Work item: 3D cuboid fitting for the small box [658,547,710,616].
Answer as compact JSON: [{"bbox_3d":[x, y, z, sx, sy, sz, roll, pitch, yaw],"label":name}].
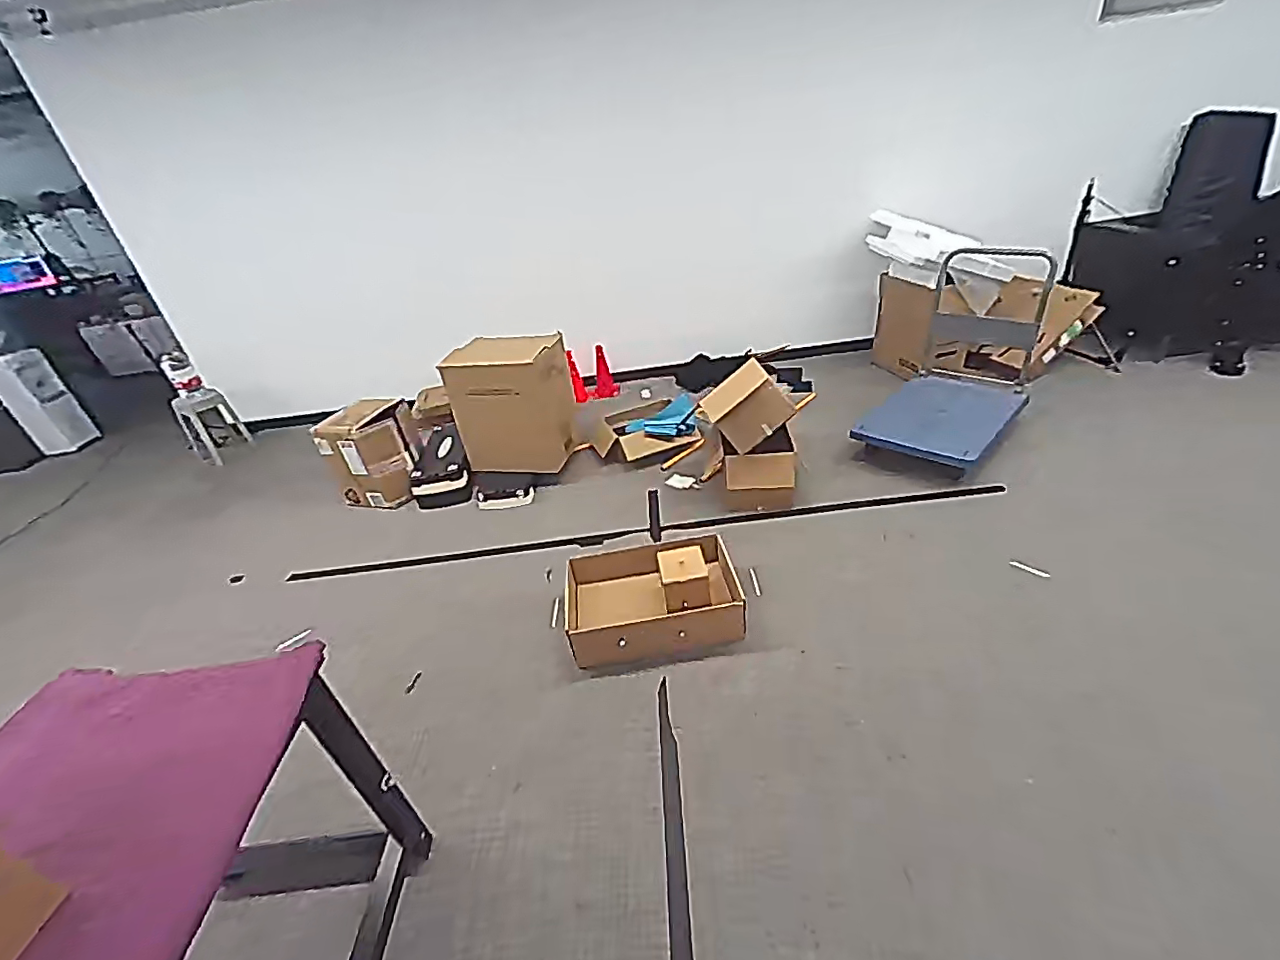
[{"bbox_3d":[0.163,0.380,2.014,0.168,0.176,0.179,-10,32,-1],"label":"small box"}]
